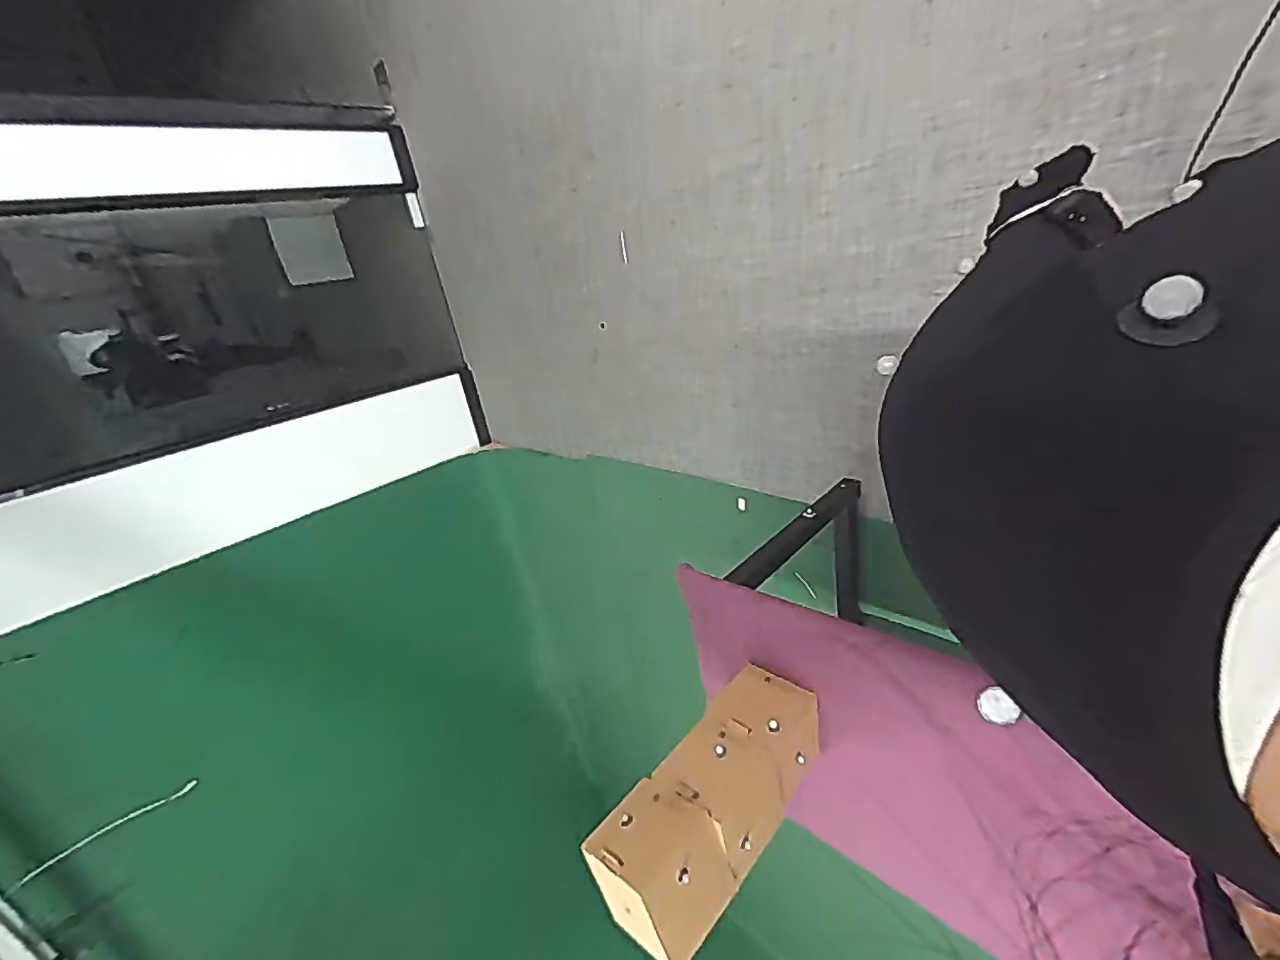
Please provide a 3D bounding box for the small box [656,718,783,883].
[{"bbox_3d":[0.160,0.604,1.040,0.168,0.176,0.179,9,120,45],"label":"small box"}]

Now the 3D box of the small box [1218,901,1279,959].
[{"bbox_3d":[0.797,0.661,0.629,0.168,0.176,0.179,12,120,45],"label":"small box"}]

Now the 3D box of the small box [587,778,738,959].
[{"bbox_3d":[0.043,0.668,0.945,0.168,0.176,0.179,-5,110,50],"label":"small box"}]
